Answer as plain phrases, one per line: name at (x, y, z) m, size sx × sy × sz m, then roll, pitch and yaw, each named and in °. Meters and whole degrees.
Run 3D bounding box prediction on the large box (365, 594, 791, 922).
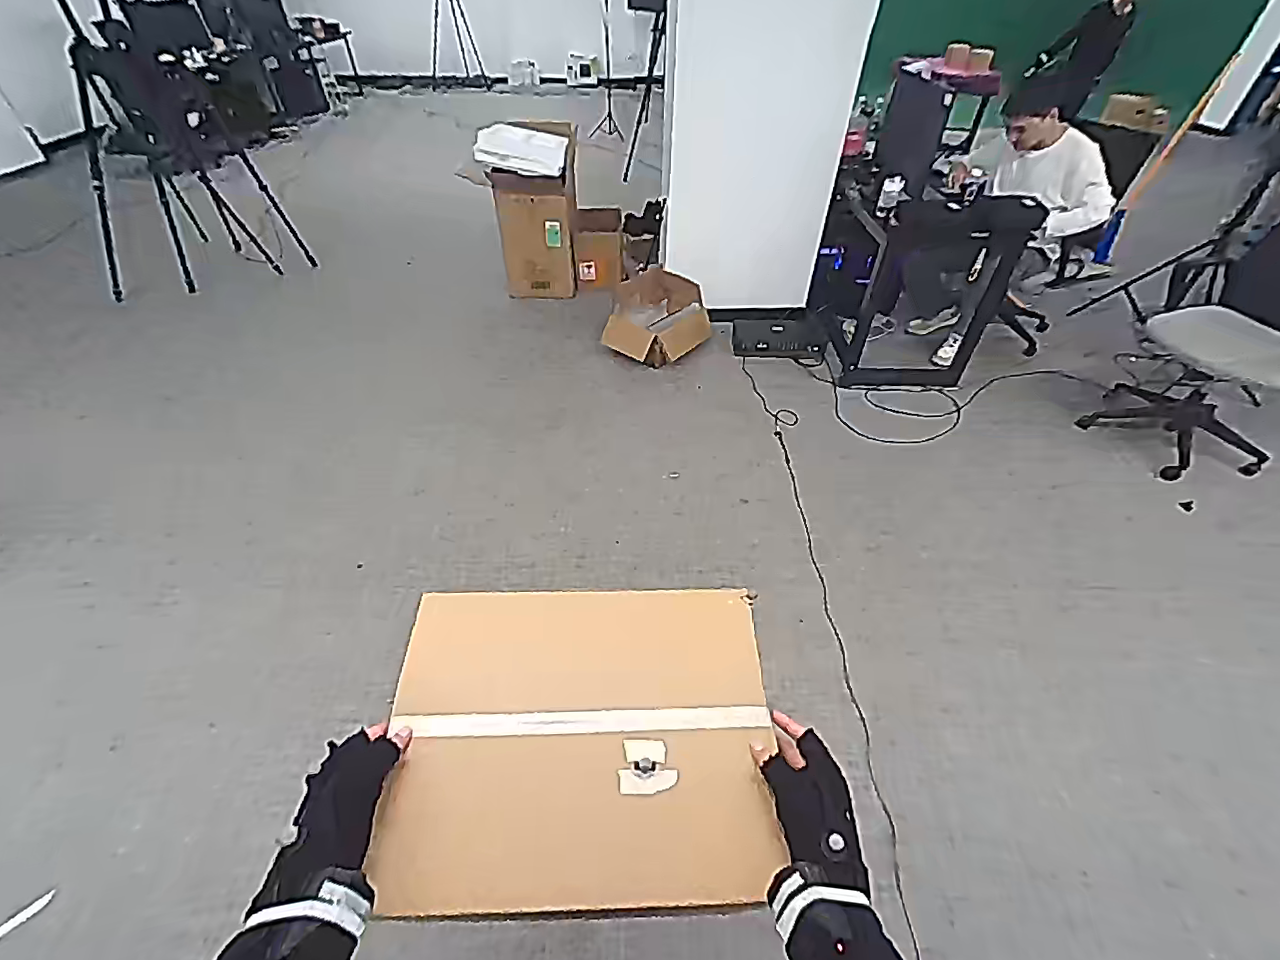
large box at (-0.067, 0.364, 0.706) m, size 0.408 × 0.320 × 0.320 m, roll 0°, pitch 50°, yaw -3°
